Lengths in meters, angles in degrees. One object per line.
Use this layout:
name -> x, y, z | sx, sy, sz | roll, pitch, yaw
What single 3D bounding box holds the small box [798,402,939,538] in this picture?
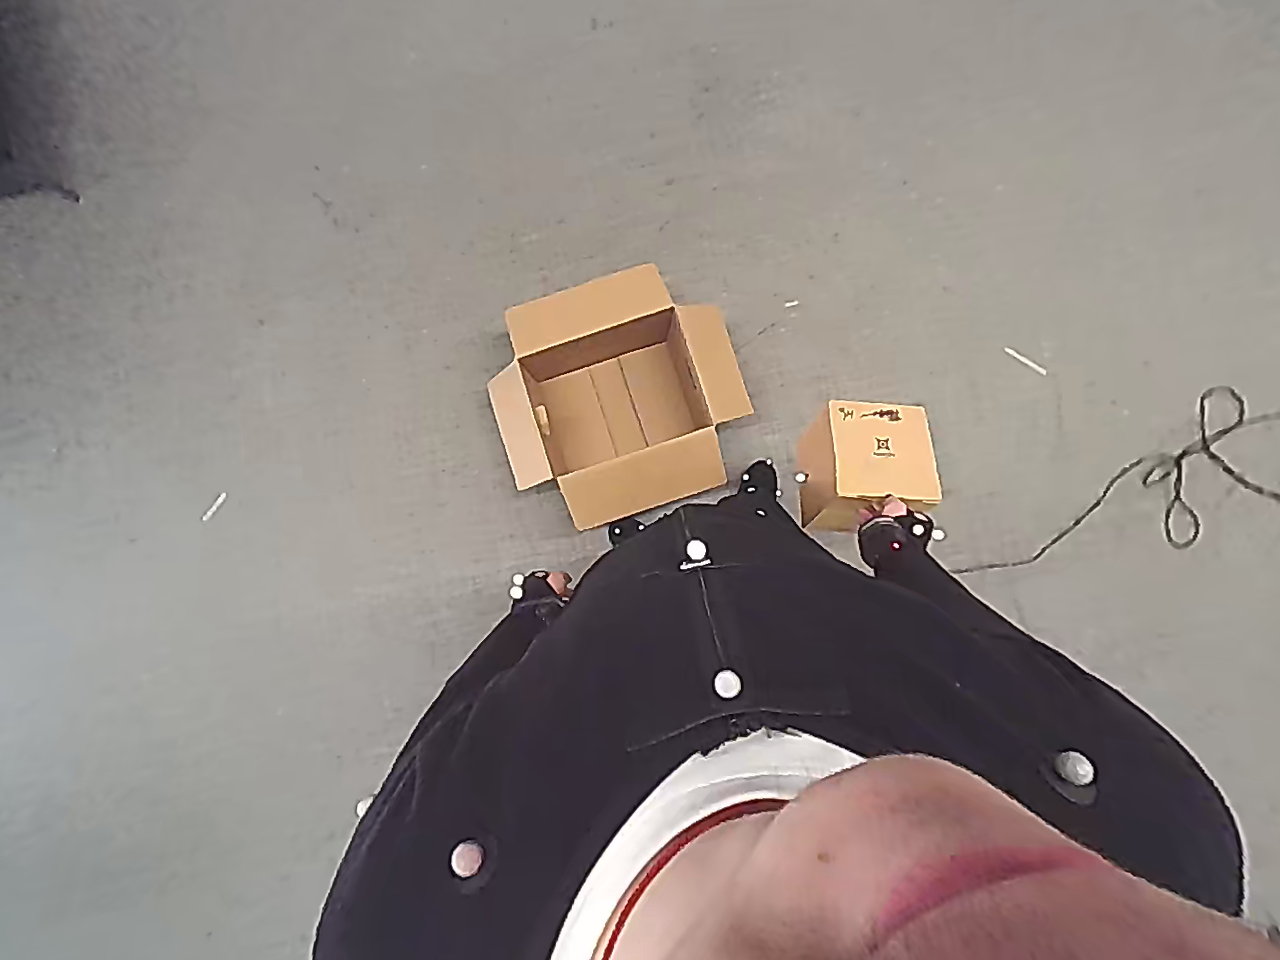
small box -> 0.380, -0.010, 0.931 | 0.168, 0.176, 0.179 | 6, 65, -2
